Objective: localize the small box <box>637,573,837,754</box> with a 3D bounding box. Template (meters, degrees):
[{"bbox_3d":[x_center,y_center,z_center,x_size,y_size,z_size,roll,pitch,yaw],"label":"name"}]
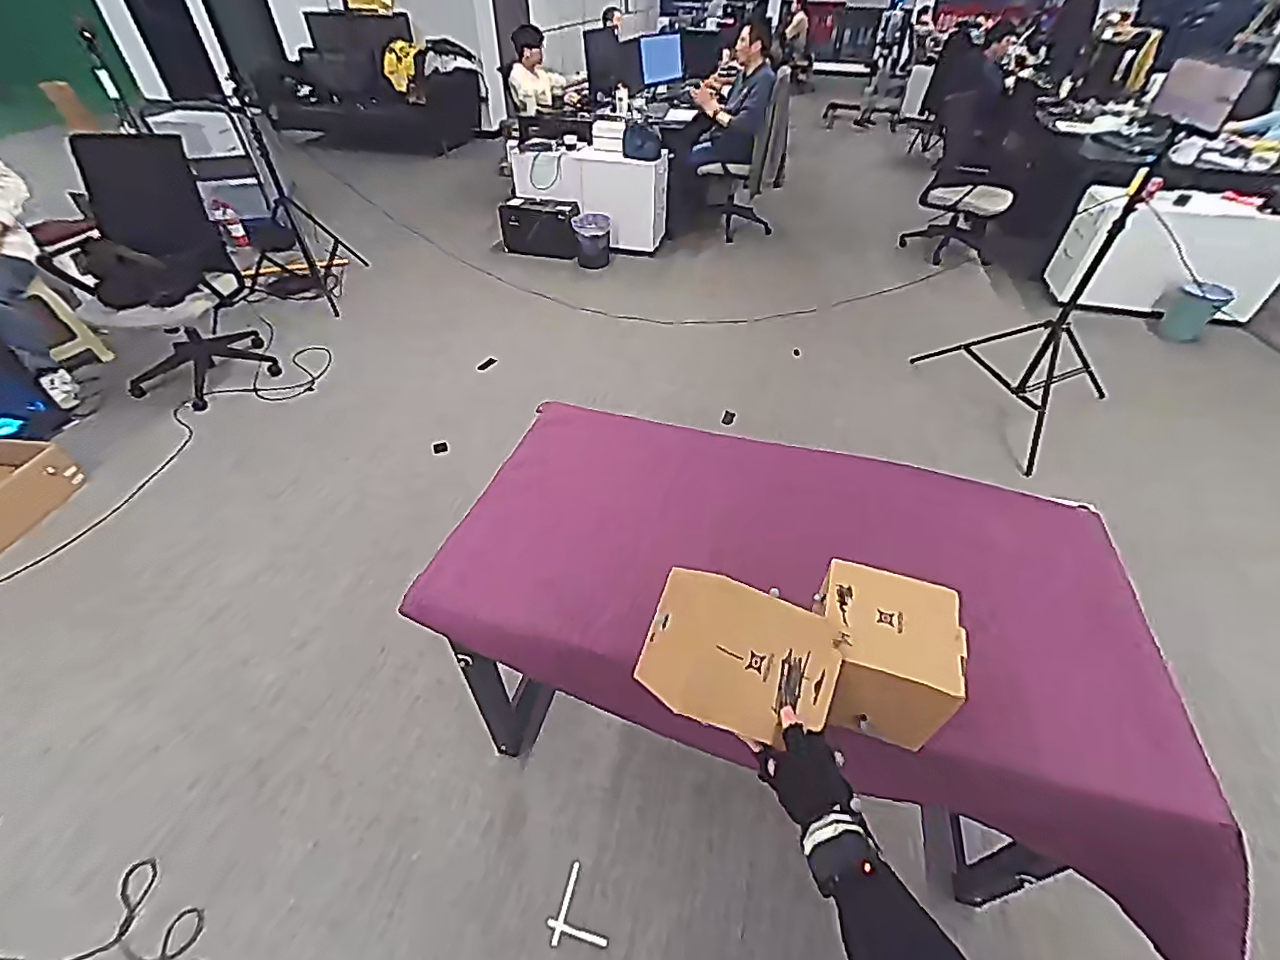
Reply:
[{"bbox_3d":[0.119,0.229,0.718,0.179,0.176,0.168,24,77,-13],"label":"small box"}]

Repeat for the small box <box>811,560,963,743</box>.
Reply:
[{"bbox_3d":[0.335,0.250,0.780,0.179,0.176,0.168,15,44,14],"label":"small box"}]
